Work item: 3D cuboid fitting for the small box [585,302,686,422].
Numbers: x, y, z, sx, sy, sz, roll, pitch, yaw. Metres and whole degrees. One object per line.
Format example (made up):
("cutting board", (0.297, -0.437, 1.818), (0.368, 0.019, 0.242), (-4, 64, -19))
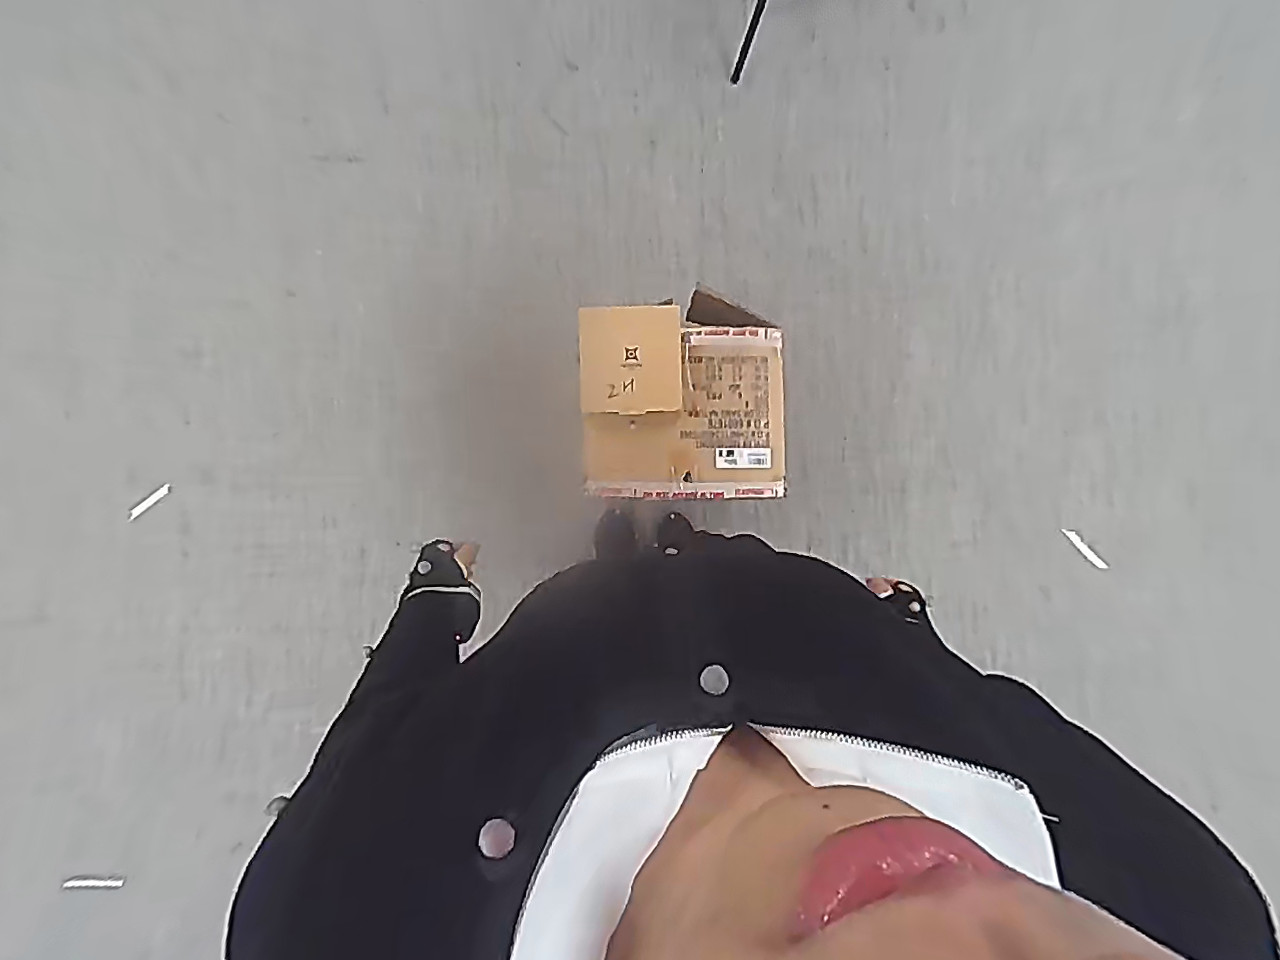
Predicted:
("small box", (-0.008, -0.200, 0.954), (0.168, 0.176, 0.179), (-1, 90, 1))
